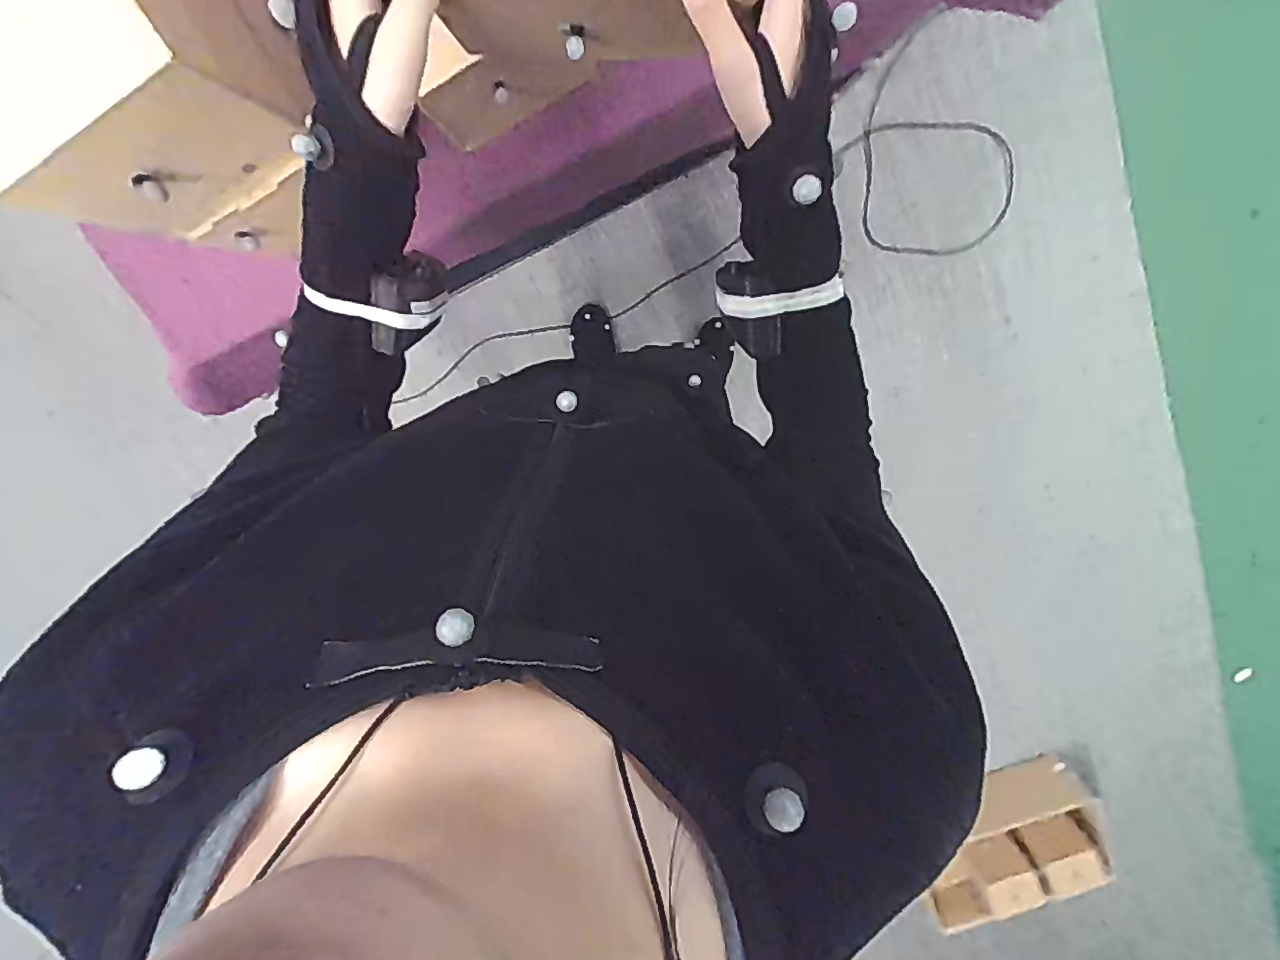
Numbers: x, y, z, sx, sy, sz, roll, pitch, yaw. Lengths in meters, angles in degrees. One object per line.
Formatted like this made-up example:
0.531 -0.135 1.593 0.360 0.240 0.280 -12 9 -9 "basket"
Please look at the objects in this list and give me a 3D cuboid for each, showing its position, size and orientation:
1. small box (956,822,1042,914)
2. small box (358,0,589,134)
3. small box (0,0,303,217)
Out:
1.227 1.326 1.856 0.168 0.176 0.179 -24 106 5 "small box"
-0.163 -0.469 0.512 0.179 0.176 0.168 -26 107 7 "small box"
-0.396 -0.313 0.387 0.168 0.176 0.179 -29 104 8 "small box"
